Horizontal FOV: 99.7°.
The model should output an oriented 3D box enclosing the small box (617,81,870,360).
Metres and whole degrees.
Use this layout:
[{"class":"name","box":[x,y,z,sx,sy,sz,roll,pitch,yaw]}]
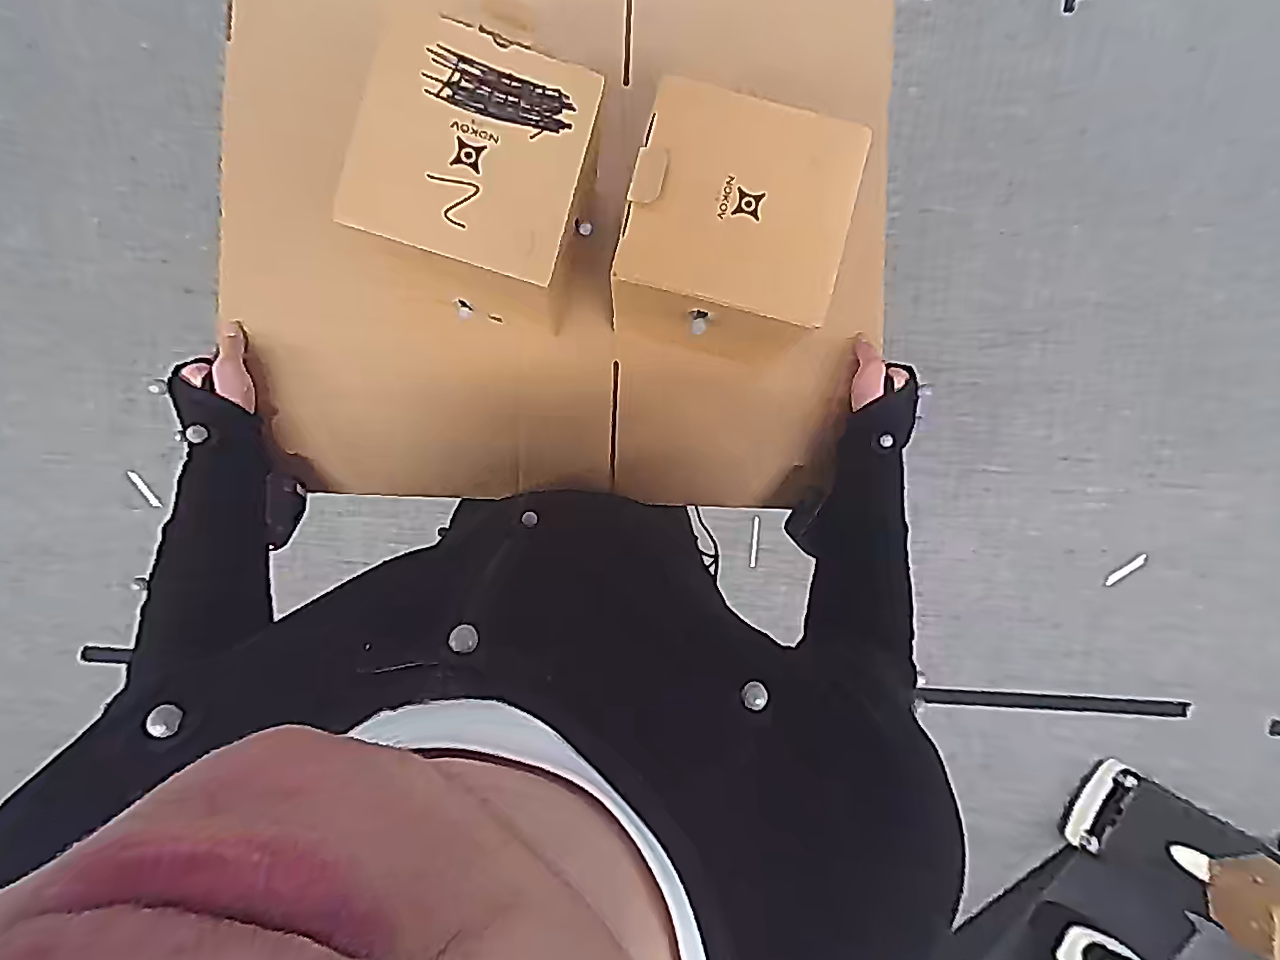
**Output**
[{"class":"small box","box":[0.083,-0.225,0.521,0.179,0.176,0.168,15,90,-1]}]
